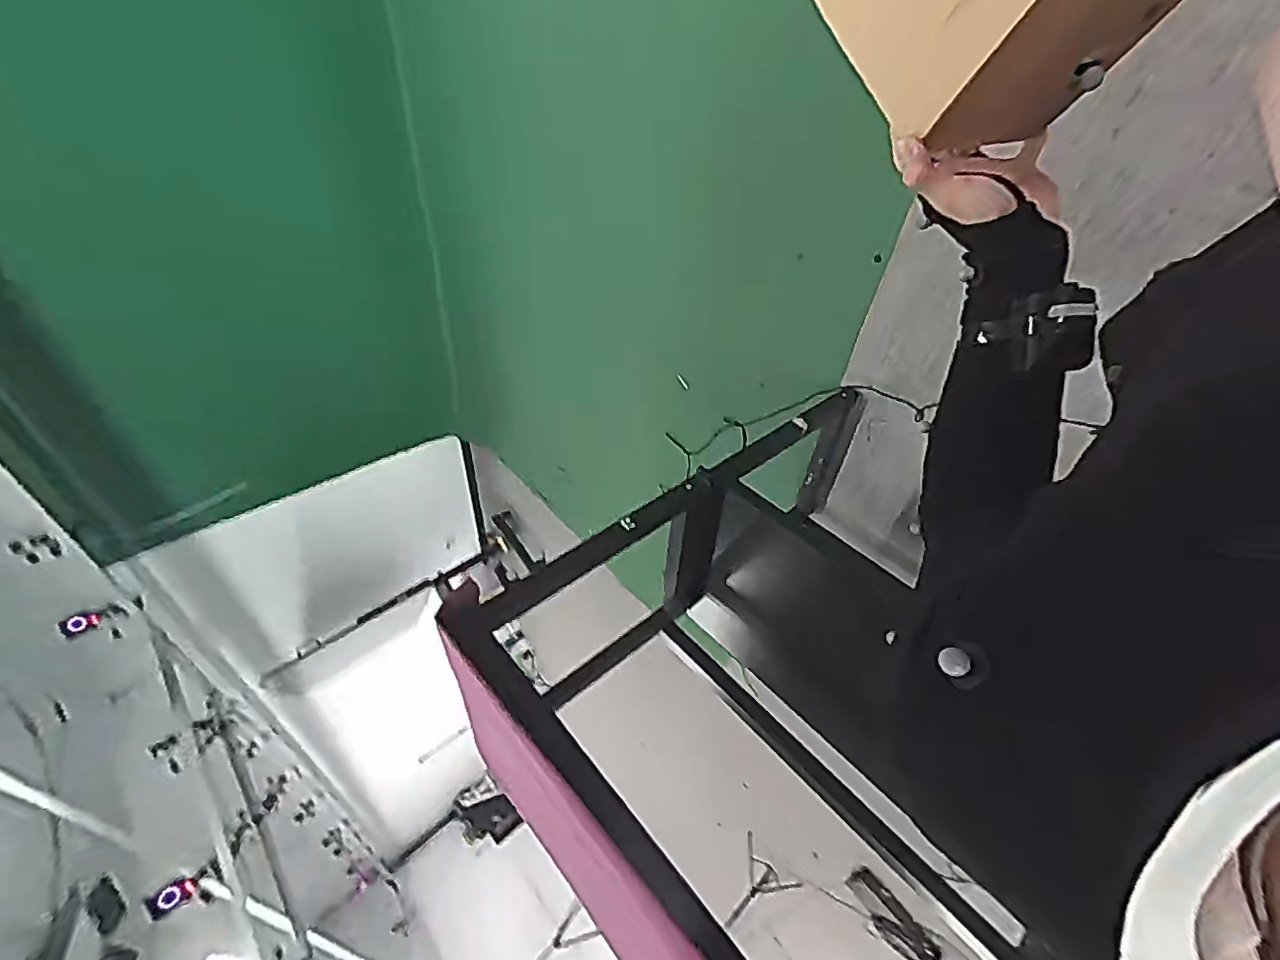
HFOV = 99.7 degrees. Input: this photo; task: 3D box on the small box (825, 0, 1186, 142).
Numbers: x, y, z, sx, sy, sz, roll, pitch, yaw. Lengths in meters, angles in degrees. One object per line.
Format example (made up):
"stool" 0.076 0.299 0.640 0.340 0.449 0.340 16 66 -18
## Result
"small box" 0.278 -0.390 0.403 0.179 0.176 0.168 66 158 10
